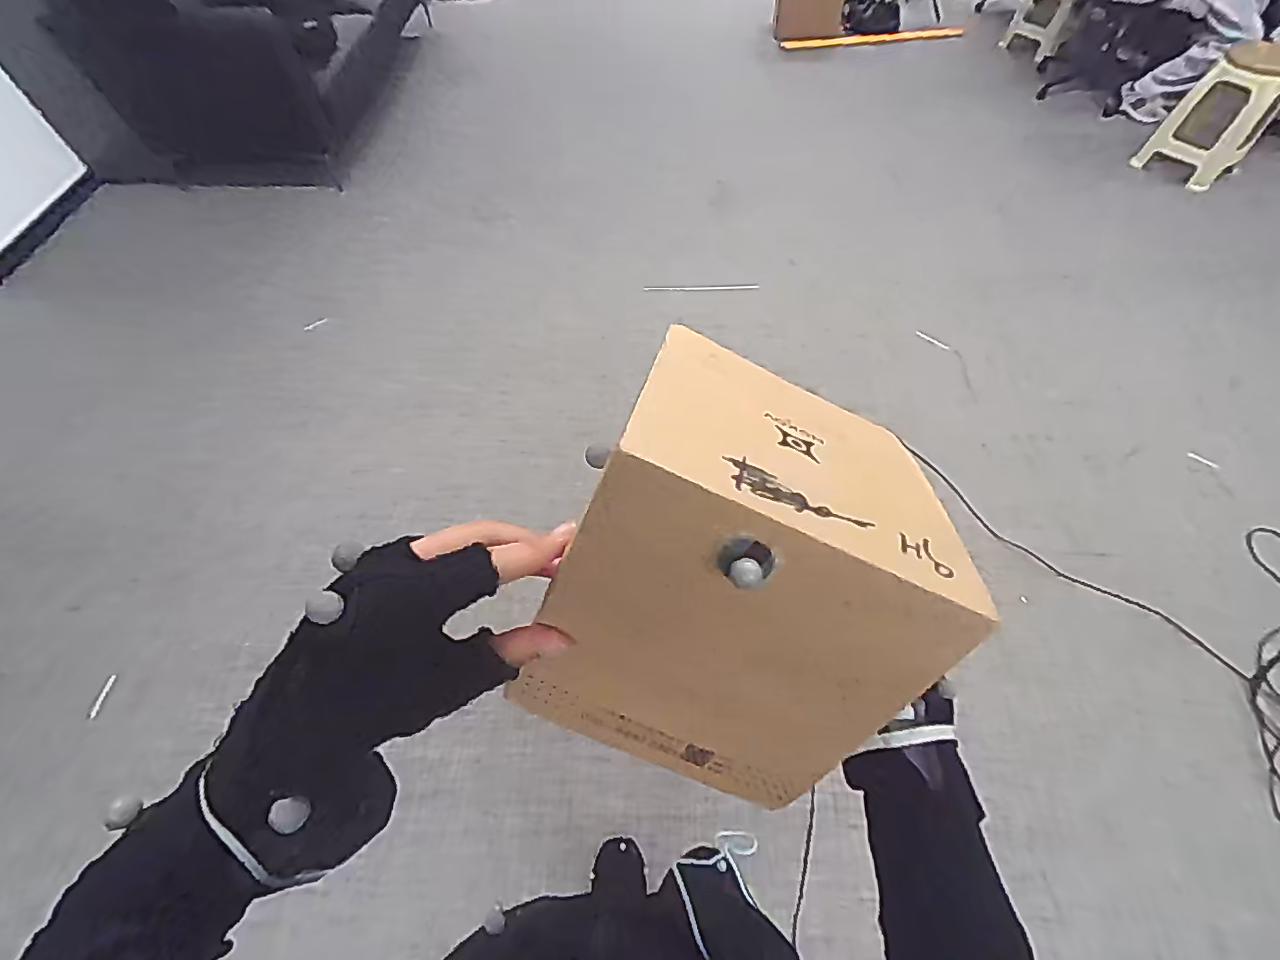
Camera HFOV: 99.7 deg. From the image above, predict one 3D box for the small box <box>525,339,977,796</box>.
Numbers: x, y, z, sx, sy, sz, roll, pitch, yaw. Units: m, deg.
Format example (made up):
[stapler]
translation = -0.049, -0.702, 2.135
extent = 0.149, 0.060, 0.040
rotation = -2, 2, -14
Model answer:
[small box]
translation = 0.048, 0.044, 0.329
extent = 0.168, 0.176, 0.179
rotation = 25, 31, -3
